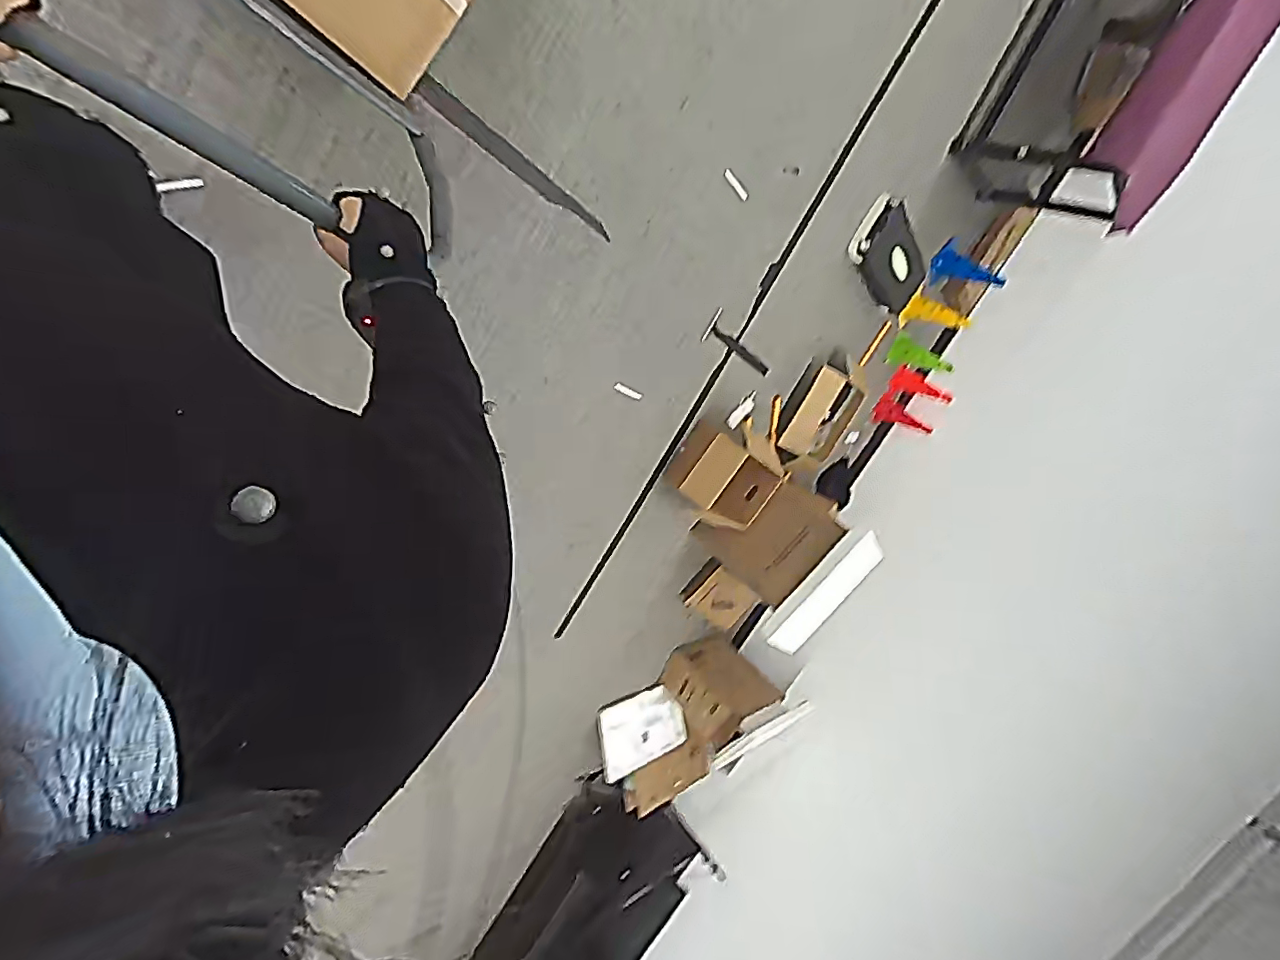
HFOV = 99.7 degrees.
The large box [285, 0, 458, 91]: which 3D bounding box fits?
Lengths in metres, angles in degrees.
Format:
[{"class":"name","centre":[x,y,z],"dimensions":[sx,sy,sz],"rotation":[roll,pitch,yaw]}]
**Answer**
[{"class":"large box","centre":[-0.447,-0.847,0.710],"dimensions":[0.320,0.320,0.408],"rotation":[-42,146,19]}]
